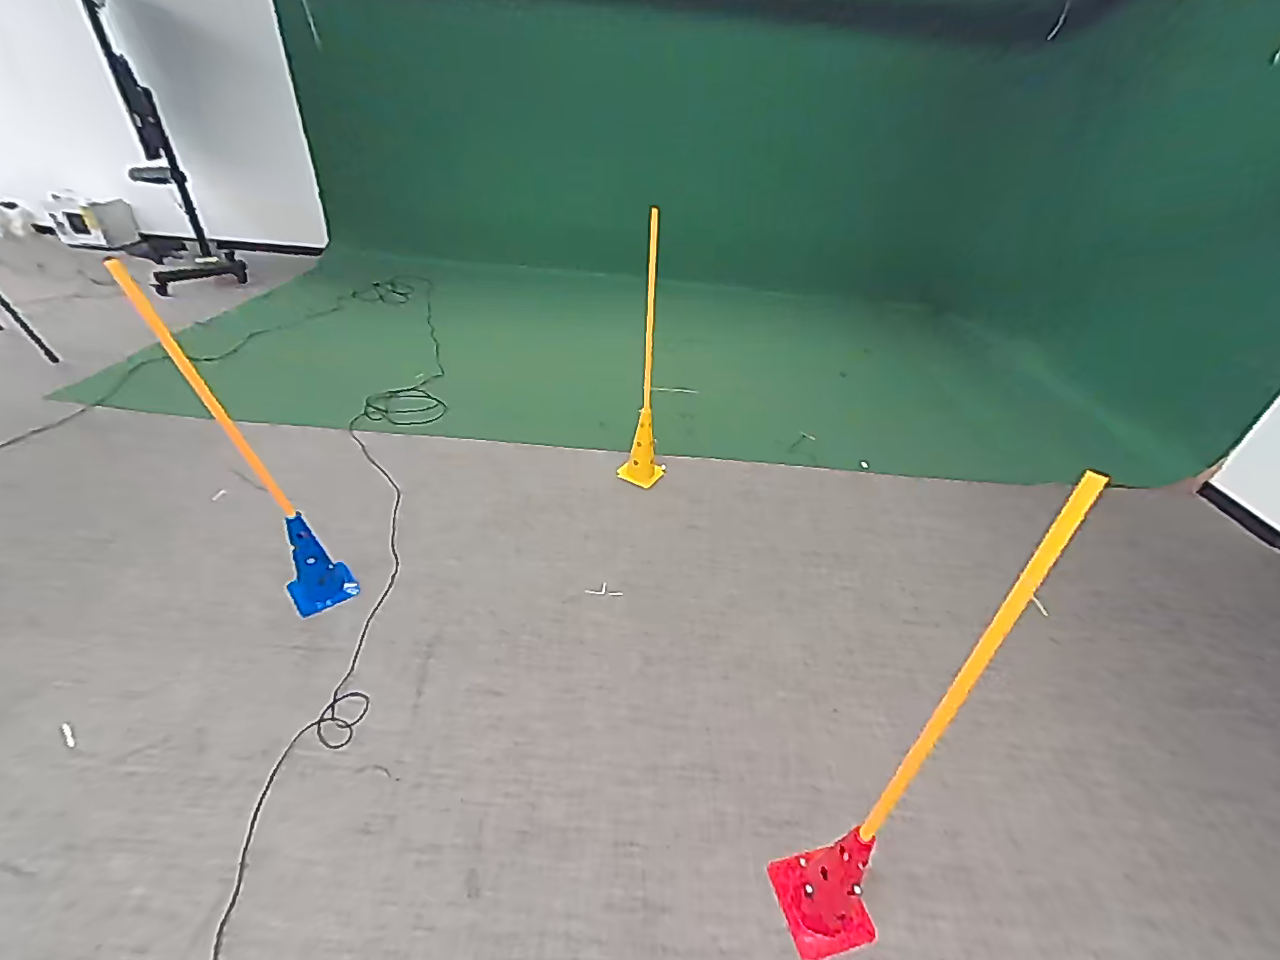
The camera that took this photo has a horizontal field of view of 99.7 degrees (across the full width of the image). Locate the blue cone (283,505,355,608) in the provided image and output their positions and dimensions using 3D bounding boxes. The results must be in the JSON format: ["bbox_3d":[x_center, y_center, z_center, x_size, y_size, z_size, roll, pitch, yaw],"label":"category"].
[{"bbox_3d":[-1.137,0.242,1.849,0.193,0.380,0.192,-28,48,-34],"label":"blue cone"}]
